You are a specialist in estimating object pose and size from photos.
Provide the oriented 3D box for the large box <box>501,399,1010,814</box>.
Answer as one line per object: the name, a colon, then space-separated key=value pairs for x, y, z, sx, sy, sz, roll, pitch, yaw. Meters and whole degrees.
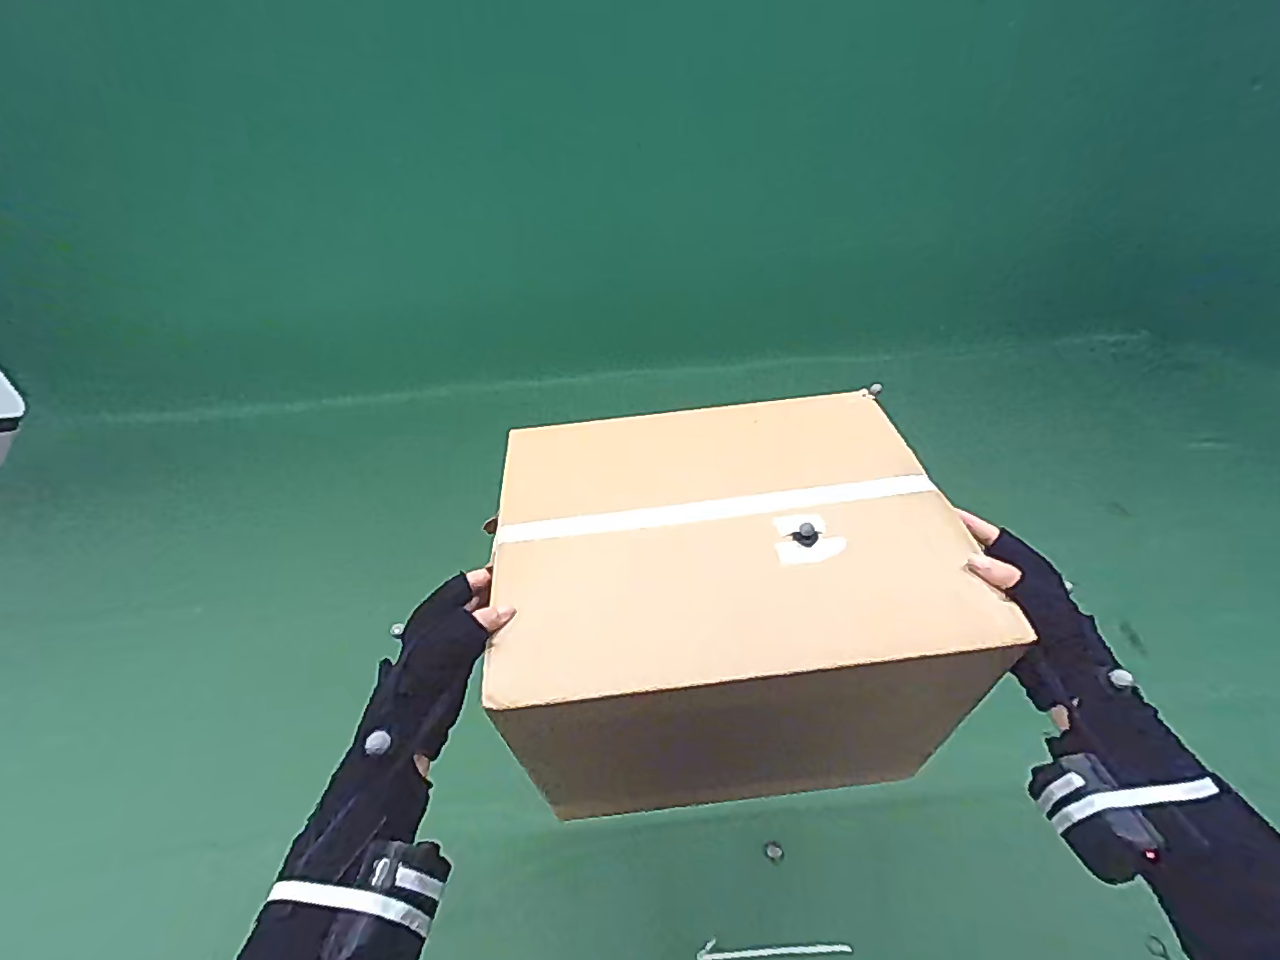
large box: x=0.081 y=0.140 z=0.614 sx=0.408 sy=0.320 sz=0.320 roll=-7 pitch=45 yaw=-2
